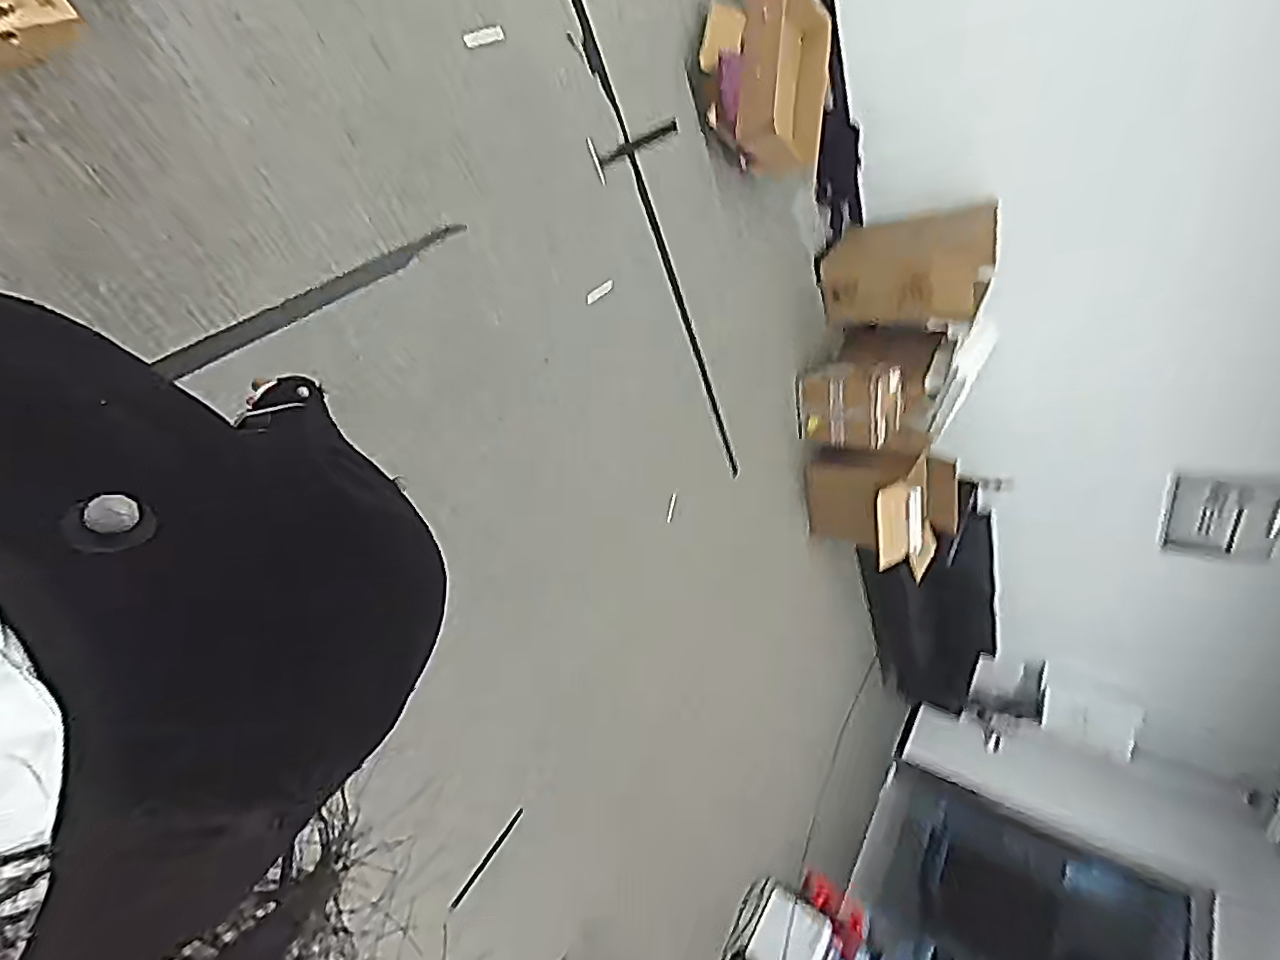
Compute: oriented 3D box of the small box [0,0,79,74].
[{"bbox_3d":[-1.065,-0.789,0.861,0.168,0.176,0.179,-47,128,-31],"label":"small box"}]
